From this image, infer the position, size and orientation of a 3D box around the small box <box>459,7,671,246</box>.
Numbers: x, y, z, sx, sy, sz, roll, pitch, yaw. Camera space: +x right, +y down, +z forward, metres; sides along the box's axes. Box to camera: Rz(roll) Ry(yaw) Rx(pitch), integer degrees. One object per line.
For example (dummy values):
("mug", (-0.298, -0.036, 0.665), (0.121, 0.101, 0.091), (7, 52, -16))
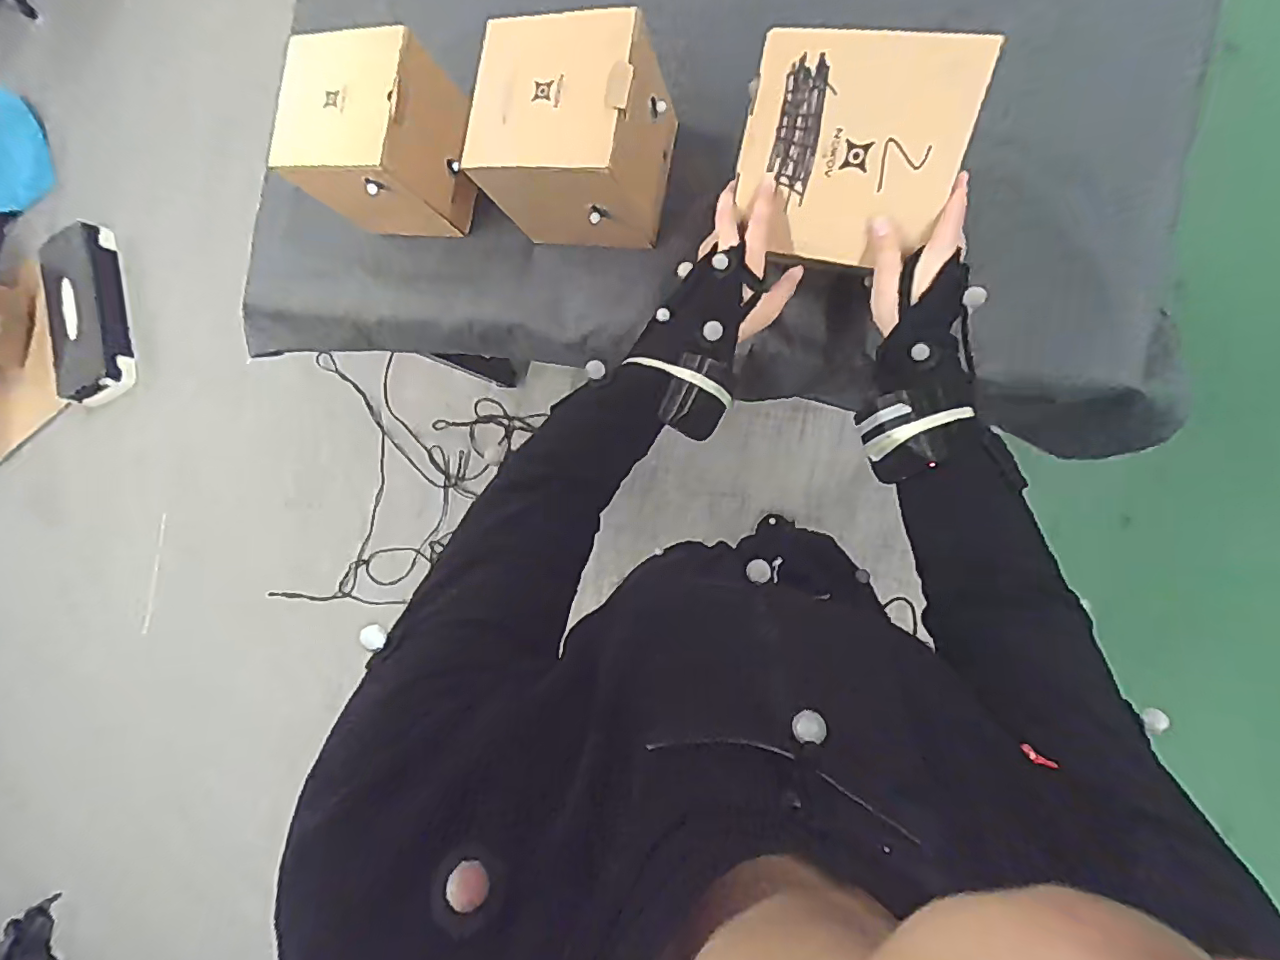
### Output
("small box", (-0.075, -0.391, 0.629), (0.179, 0.176, 0.168), (10, 88, 19))

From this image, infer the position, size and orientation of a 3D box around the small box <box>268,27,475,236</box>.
("small box", (-0.337, -0.442, 0.714), (0.179, 0.176, 0.168), (9, 89, 17))
